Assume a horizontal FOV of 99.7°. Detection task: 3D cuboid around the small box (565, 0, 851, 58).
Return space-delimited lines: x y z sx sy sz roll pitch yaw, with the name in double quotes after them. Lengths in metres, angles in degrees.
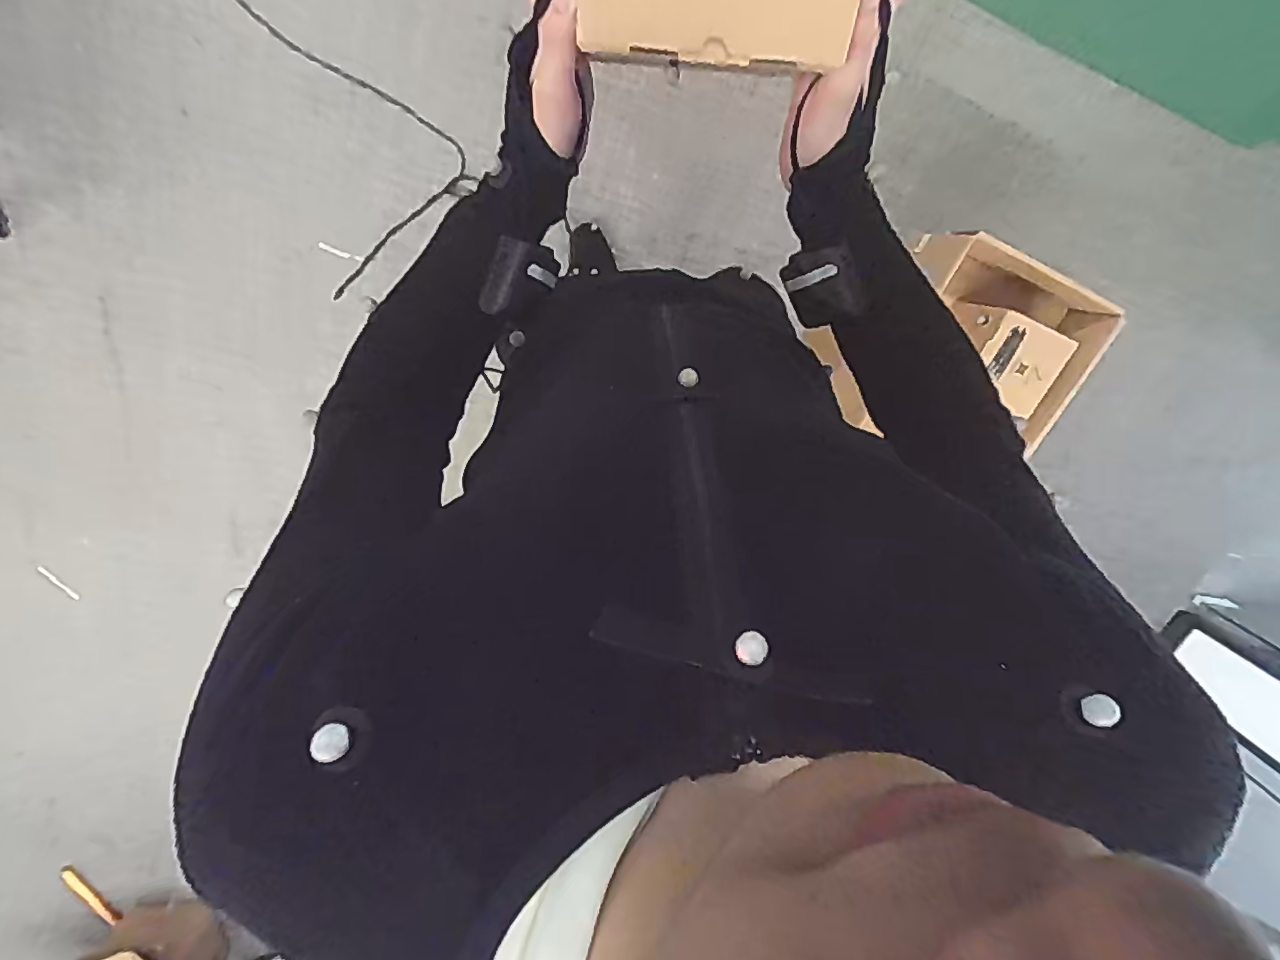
0.038 -0.372 0.327 0.168 0.176 0.179 0 128 -5 "small box"
